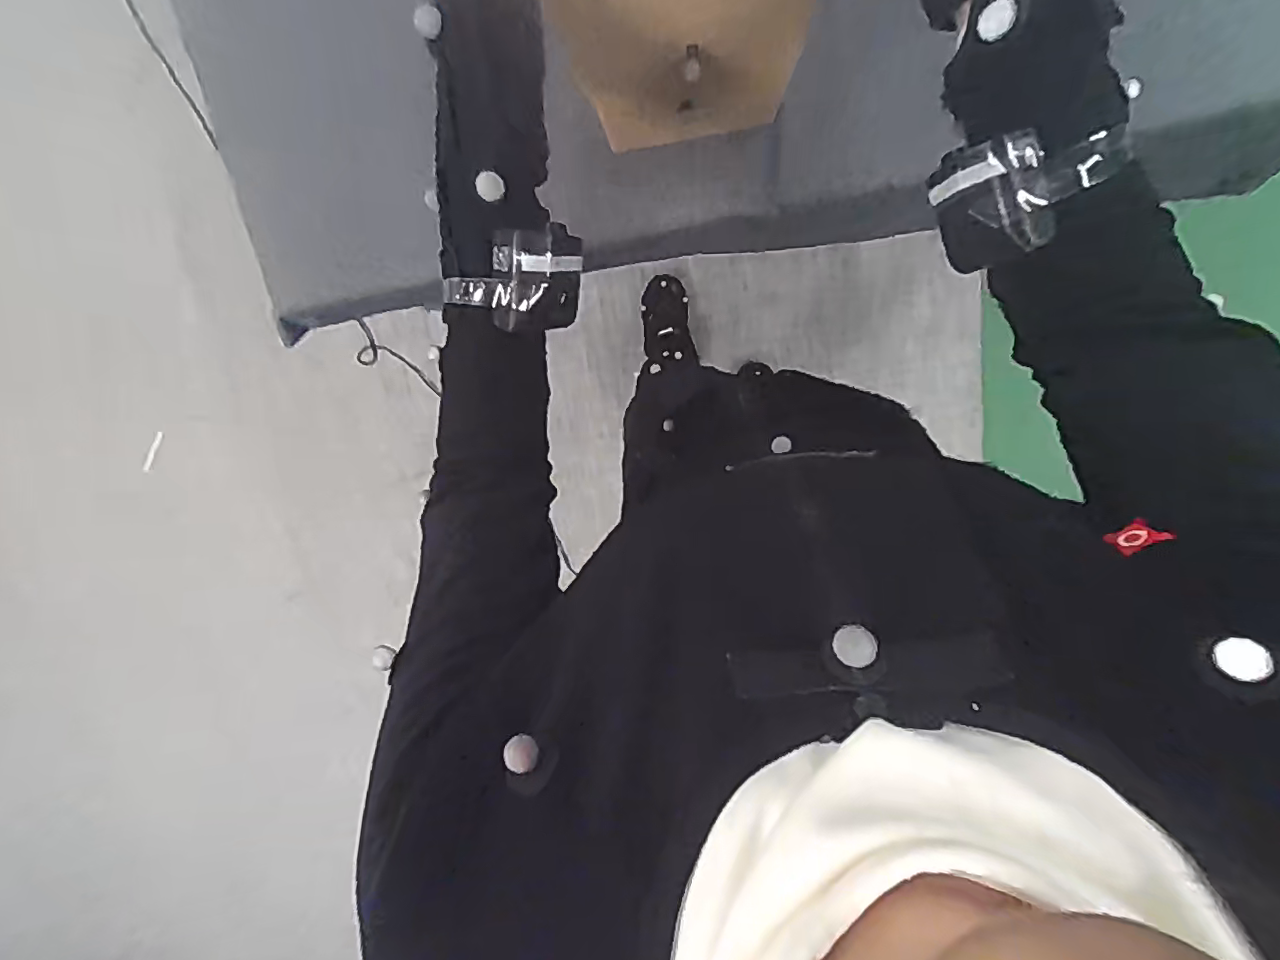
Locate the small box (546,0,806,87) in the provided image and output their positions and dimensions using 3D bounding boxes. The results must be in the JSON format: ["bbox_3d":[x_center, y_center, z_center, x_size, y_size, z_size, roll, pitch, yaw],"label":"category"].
[{"bbox_3d":[0.021,-0.383,0.336,0.179,0.176,0.168,-6,103,4],"label":"small box"}]

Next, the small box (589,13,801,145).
[{"bbox_3d":[0.037,-0.434,0.492,0.179,0.176,0.168,-7,104,7],"label":"small box"}]
